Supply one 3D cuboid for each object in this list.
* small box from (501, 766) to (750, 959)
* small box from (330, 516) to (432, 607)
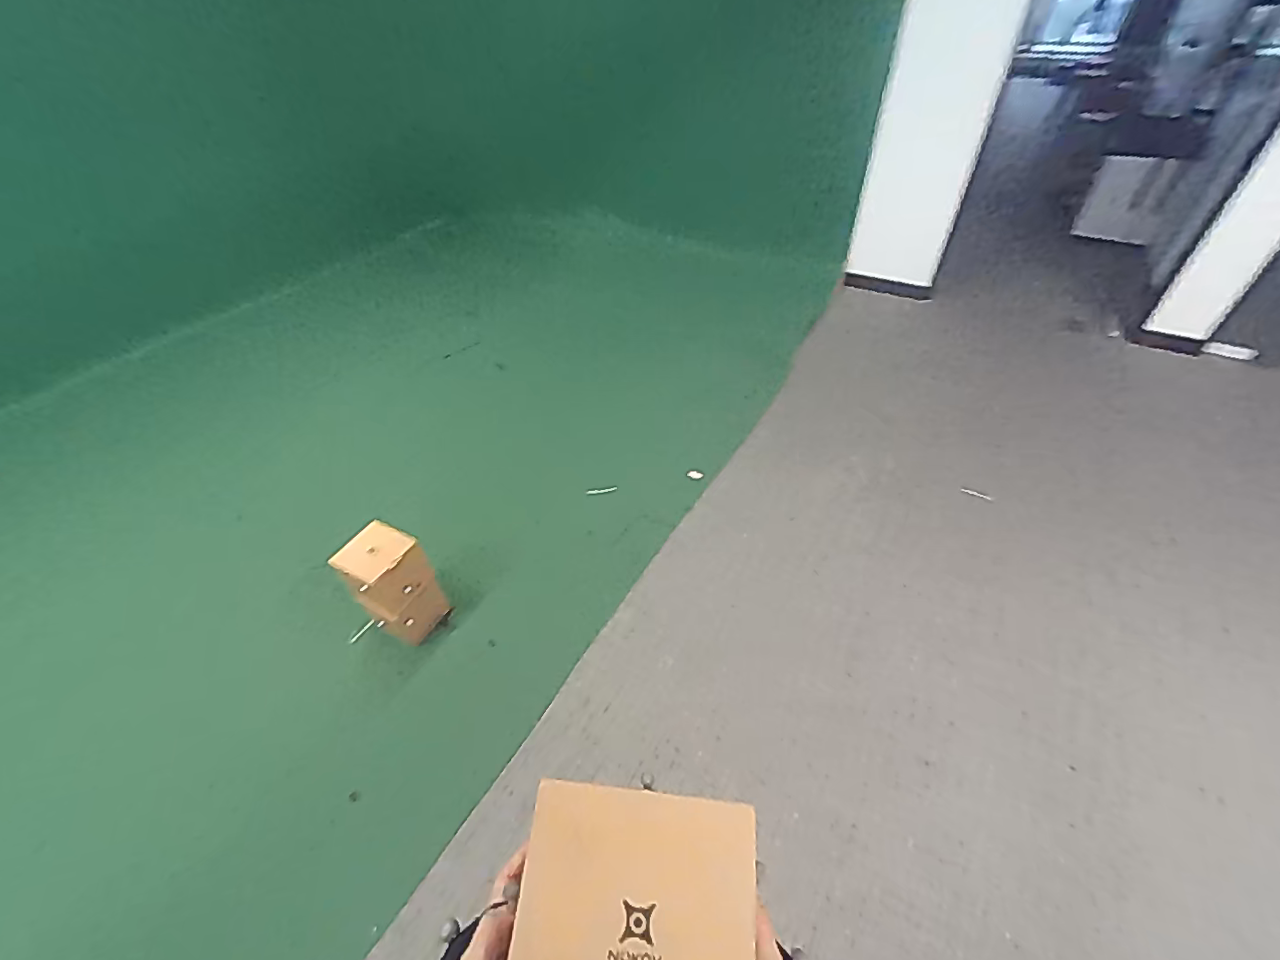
[{"bbox_3d":[-0.014,0.341,0.433,0.168,0.176,0.179,7,60,0],"label":"small box"},{"bbox_3d":[-0.739,0.238,1.558,0.179,0.176,0.168,20,50,21],"label":"small box"}]
